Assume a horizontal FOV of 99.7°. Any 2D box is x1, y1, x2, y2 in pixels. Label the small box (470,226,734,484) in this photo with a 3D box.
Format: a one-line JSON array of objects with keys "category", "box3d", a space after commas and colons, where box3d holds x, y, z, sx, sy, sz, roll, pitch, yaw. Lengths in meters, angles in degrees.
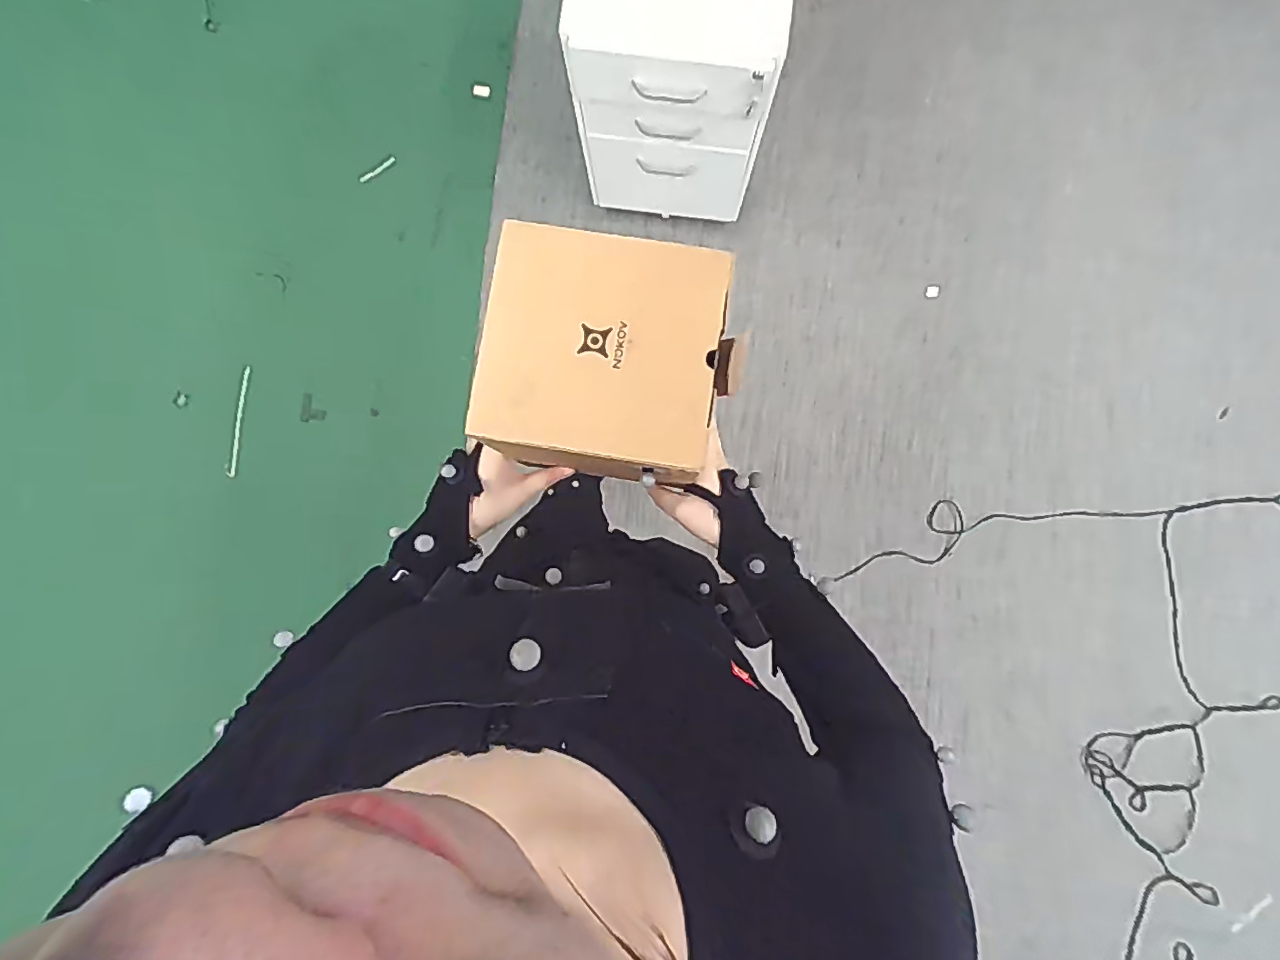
[{"category": "small box", "box3d": [-0.027, -0.092, 0.479, 0.179, 0.176, 0.168, 9, 85, 0]}]
